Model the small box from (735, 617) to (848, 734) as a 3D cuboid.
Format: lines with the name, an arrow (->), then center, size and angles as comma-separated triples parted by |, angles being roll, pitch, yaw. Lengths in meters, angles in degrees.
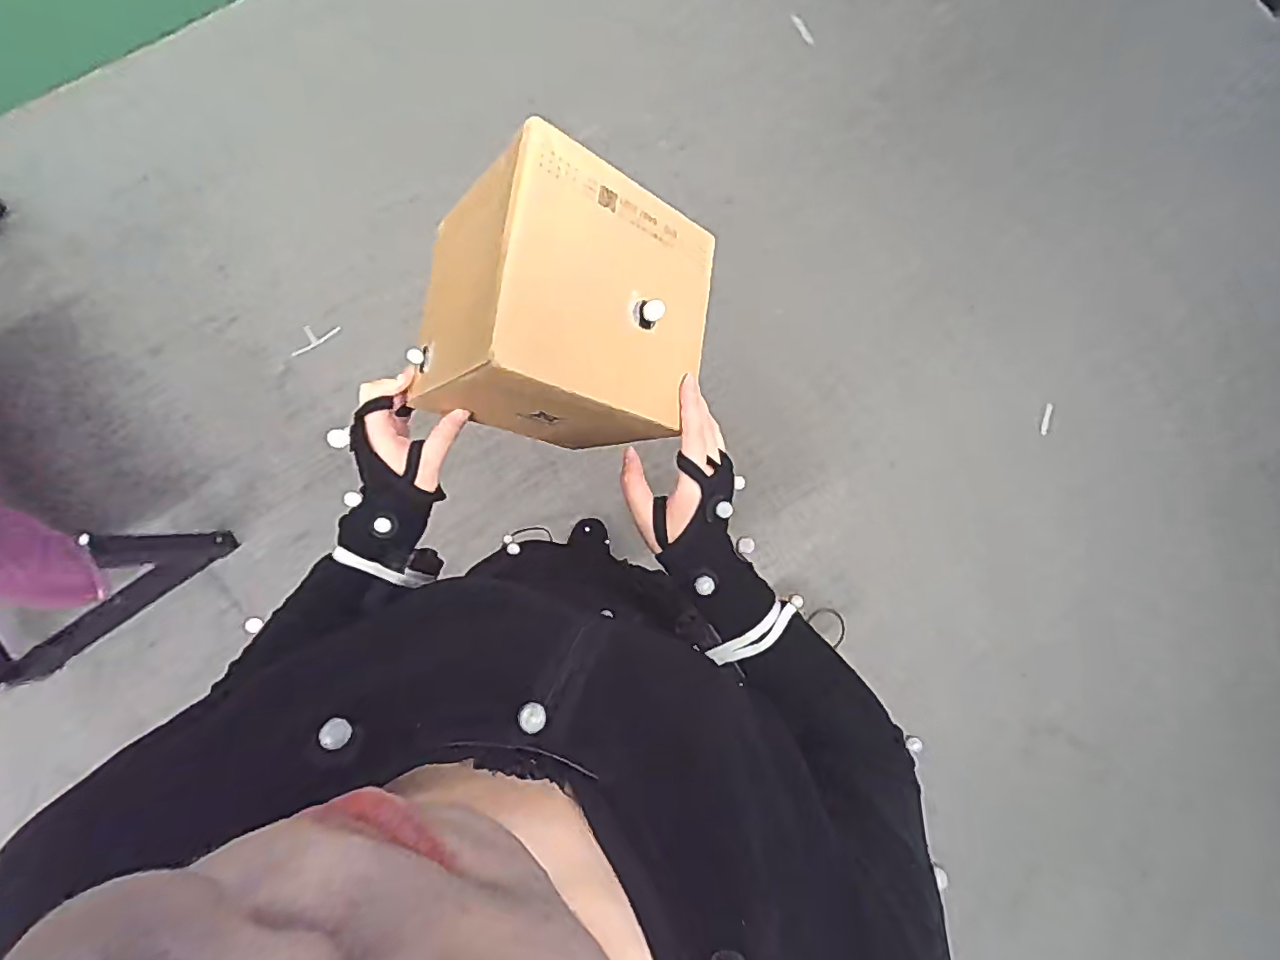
small box -> 0.341, 0.446, 1.264 | 0.168, 0.176, 0.179 | 45, 83, 1

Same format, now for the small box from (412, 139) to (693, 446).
small box -> -0.071, -0.133, 0.449 | 0.168, 0.179, 0.176 | 13, 81, -37
